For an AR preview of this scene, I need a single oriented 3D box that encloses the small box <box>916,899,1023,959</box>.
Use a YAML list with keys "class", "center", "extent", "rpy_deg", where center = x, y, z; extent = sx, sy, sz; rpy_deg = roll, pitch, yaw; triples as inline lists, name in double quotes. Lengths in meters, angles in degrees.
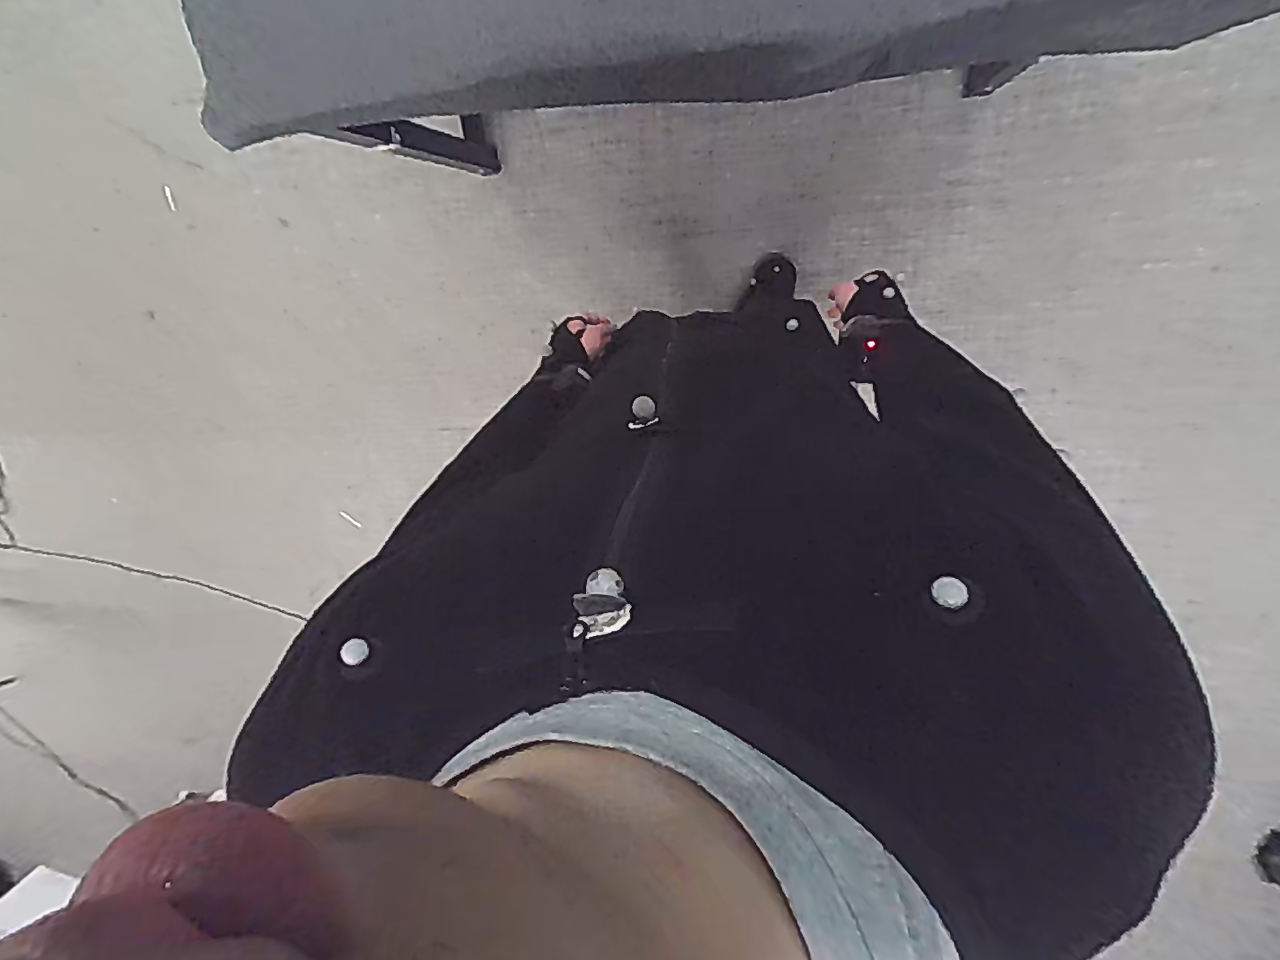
- class: "small box"
  center: [0.730, 1.075, 1.197]
  extent: [0.179, 0.176, 0.168]
  rpy_deg: [2, 114, 12]
